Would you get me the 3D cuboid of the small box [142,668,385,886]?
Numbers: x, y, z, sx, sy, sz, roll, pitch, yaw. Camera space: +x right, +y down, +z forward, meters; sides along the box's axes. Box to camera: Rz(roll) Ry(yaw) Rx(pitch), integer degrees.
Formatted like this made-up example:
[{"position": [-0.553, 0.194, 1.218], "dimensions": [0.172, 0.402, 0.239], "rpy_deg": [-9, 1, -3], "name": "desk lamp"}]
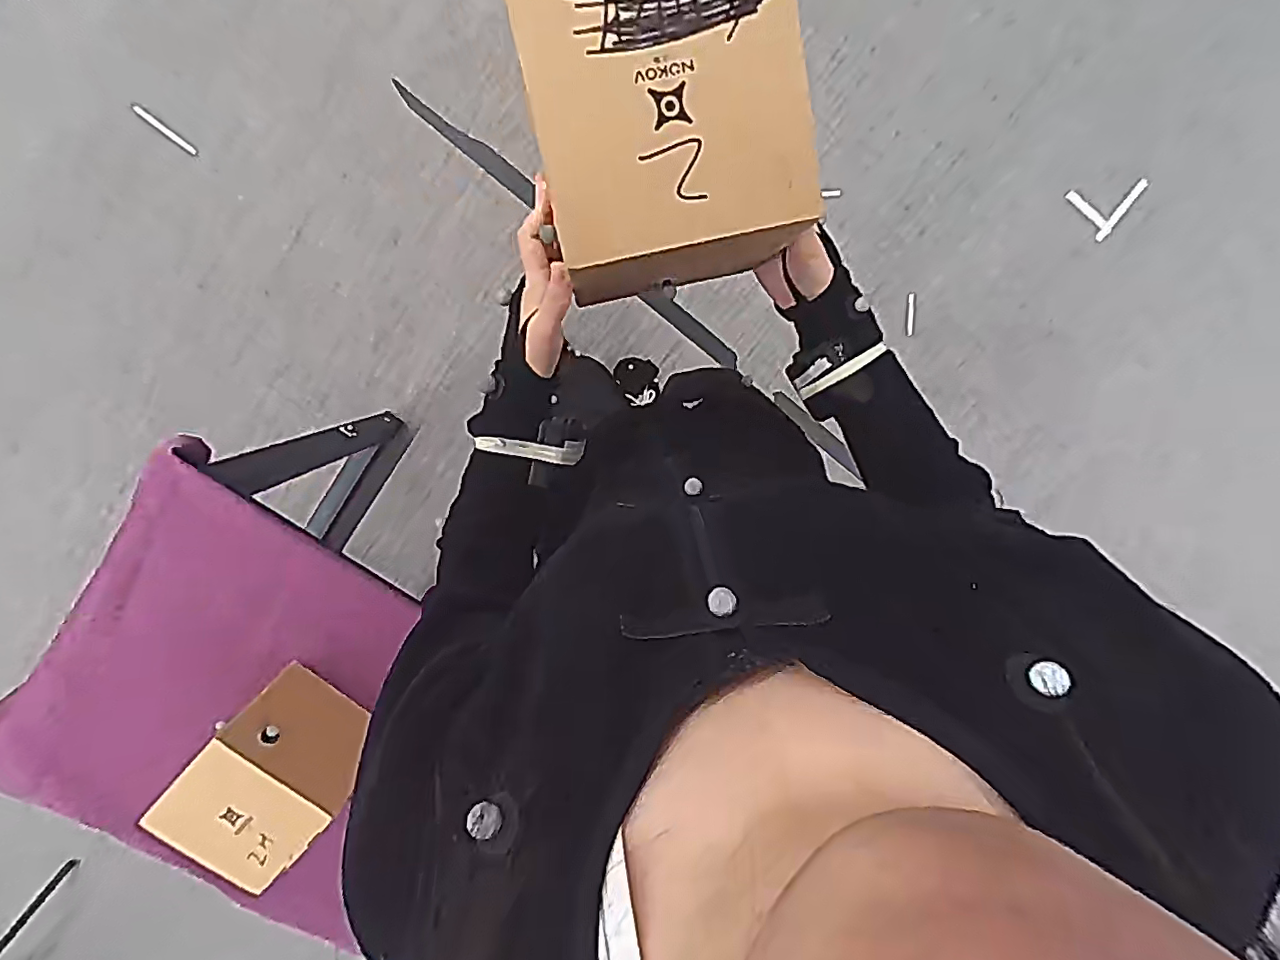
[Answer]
[{"position": [-0.499, 0.391, 0.745], "dimensions": [0.179, 0.176, 0.168], "rpy_deg": [43, 99, -12], "name": "small box"}]
